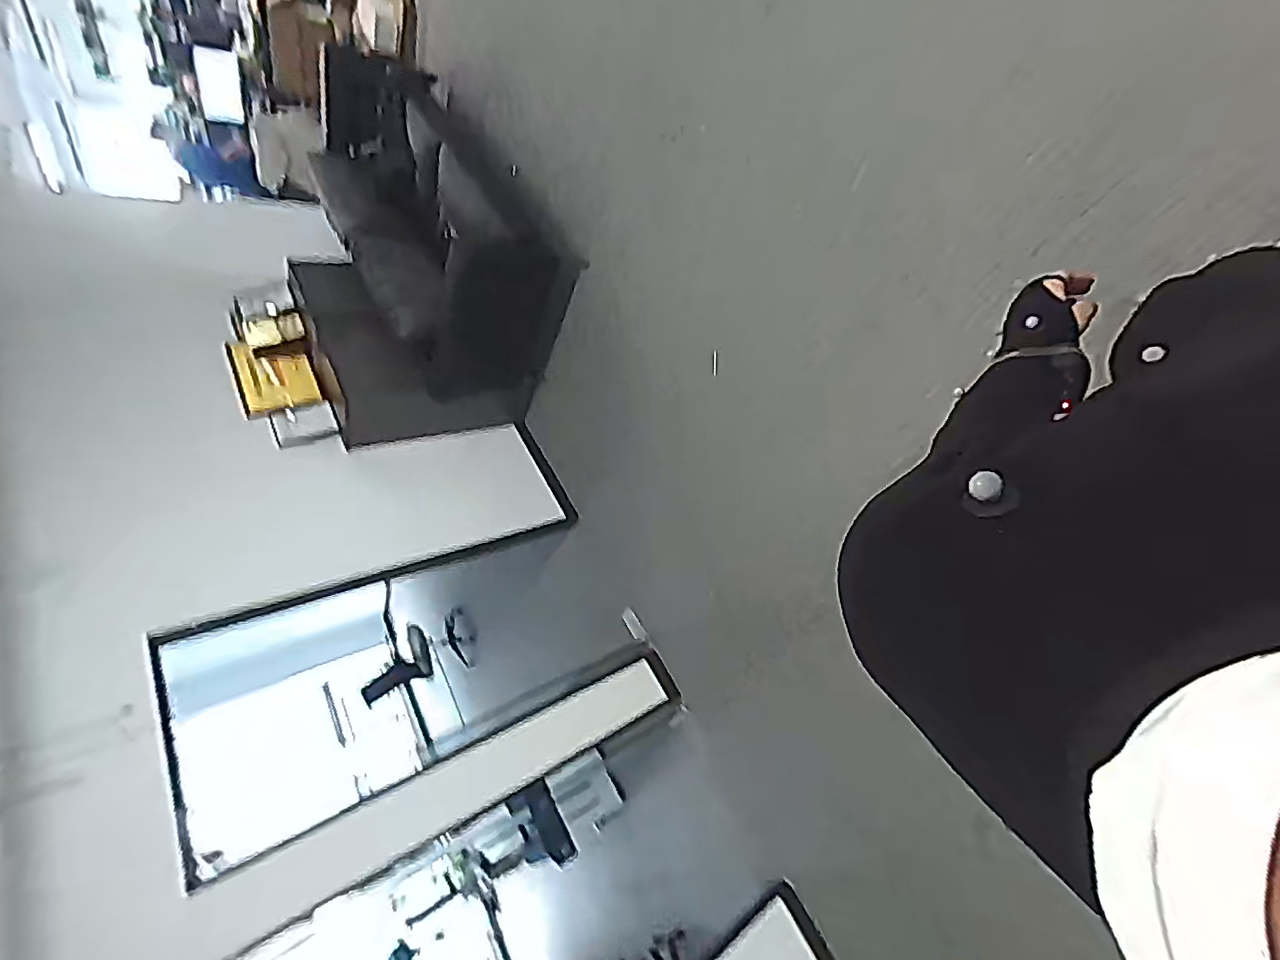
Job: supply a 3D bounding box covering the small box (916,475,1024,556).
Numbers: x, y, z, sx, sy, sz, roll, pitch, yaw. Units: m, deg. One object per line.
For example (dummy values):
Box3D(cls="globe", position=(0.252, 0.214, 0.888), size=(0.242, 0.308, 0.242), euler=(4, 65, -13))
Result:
Box3D(cls="small box", position=(0.913, 0.106, 1.488), size=(0.168, 0.176, 0.179), euler=(57, 140, 24))
